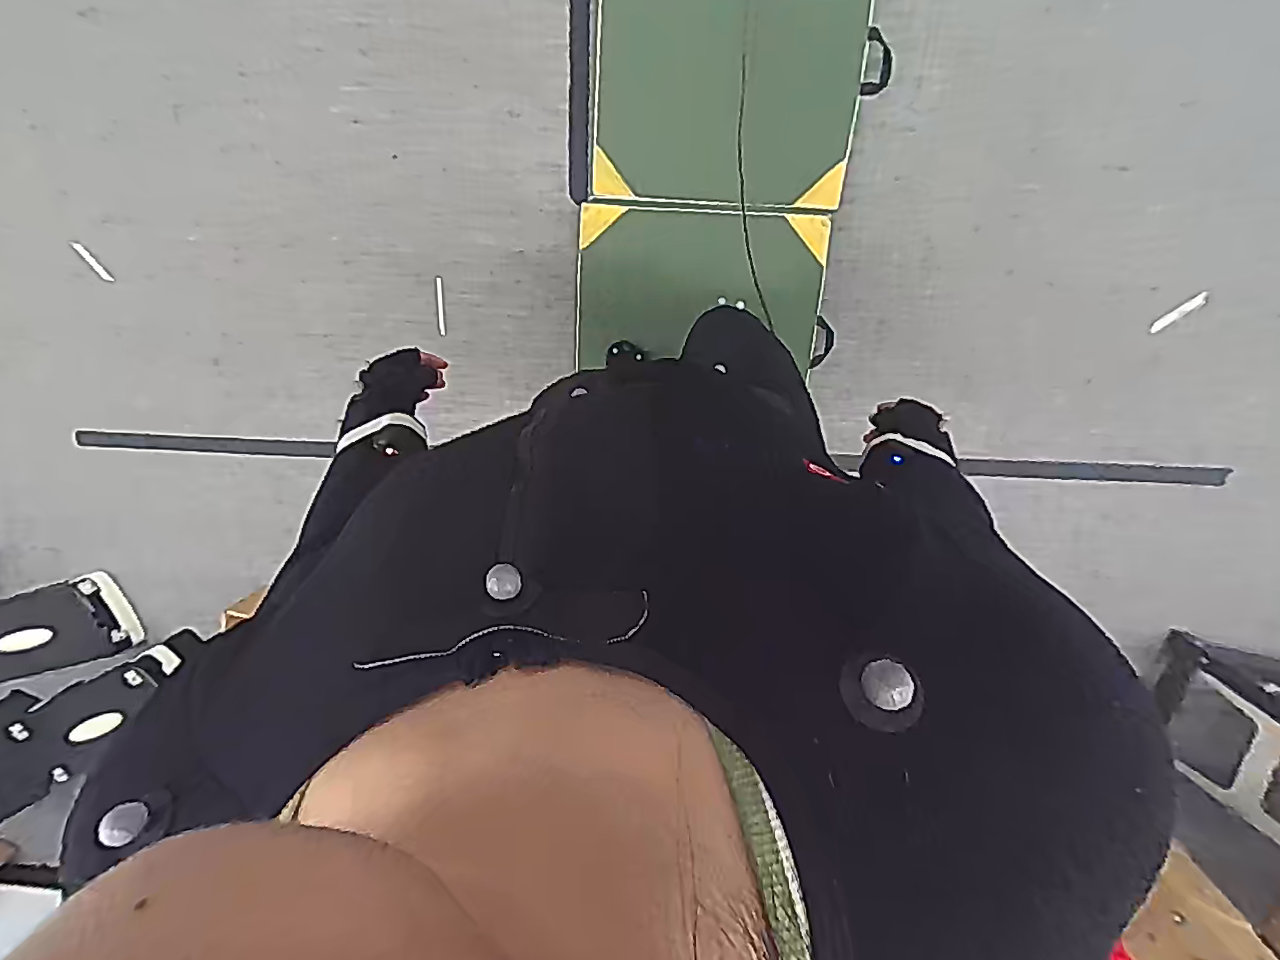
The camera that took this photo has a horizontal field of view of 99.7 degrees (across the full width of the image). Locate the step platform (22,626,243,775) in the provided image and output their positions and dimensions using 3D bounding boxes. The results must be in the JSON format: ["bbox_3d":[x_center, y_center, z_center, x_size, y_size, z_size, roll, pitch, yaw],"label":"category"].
[{"bbox_3d":[-1.777,0.777,1.895,0.684,0.204,0.286,-25,104,11],"label":"step platform"}]
